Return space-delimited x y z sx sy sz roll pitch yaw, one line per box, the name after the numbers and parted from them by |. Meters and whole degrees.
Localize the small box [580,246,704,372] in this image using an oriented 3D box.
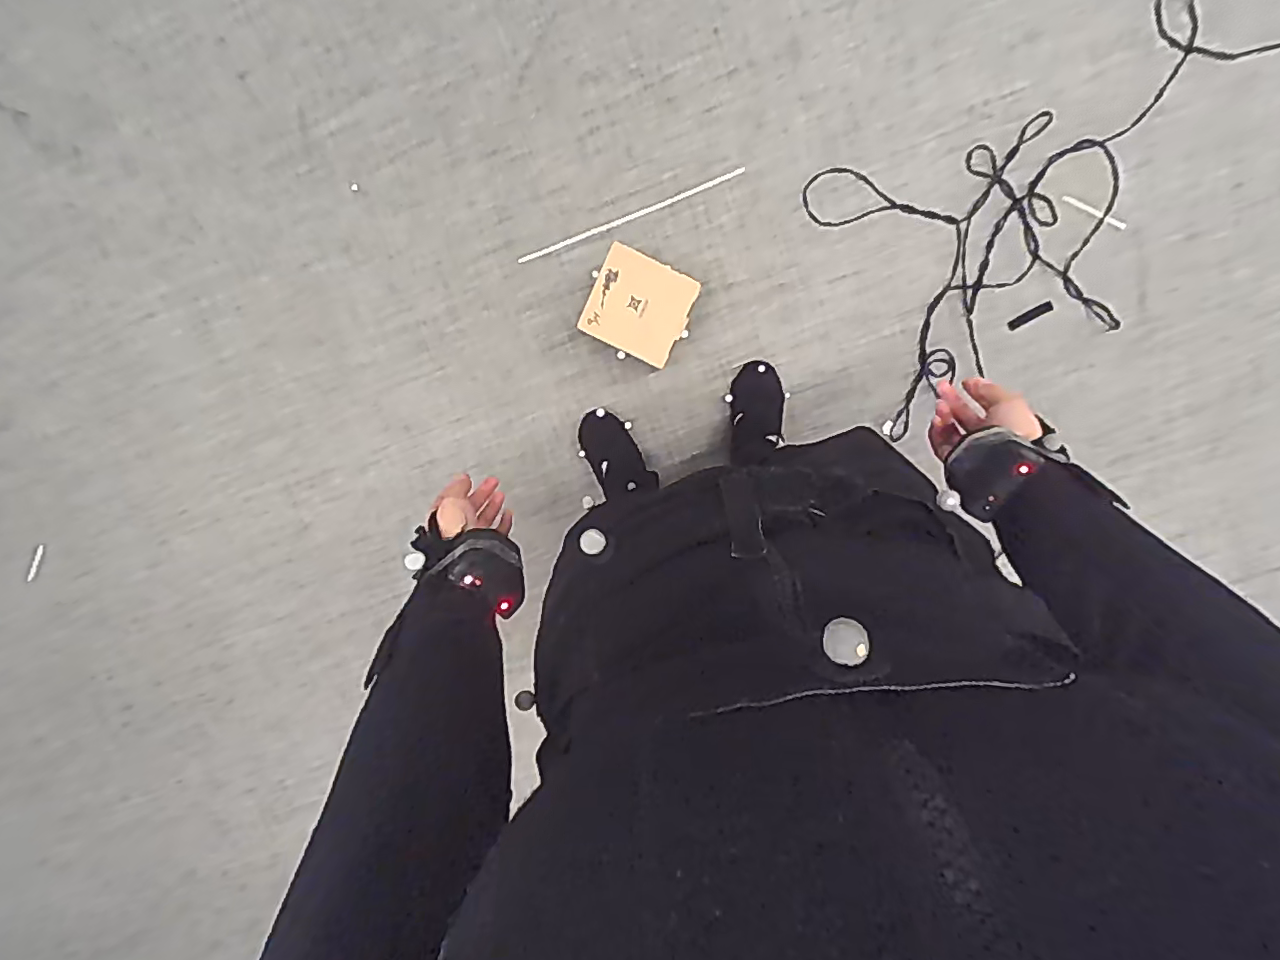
0.004 -0.324 1.050 0.179 0.176 0.168 25 101 -4 | small box
